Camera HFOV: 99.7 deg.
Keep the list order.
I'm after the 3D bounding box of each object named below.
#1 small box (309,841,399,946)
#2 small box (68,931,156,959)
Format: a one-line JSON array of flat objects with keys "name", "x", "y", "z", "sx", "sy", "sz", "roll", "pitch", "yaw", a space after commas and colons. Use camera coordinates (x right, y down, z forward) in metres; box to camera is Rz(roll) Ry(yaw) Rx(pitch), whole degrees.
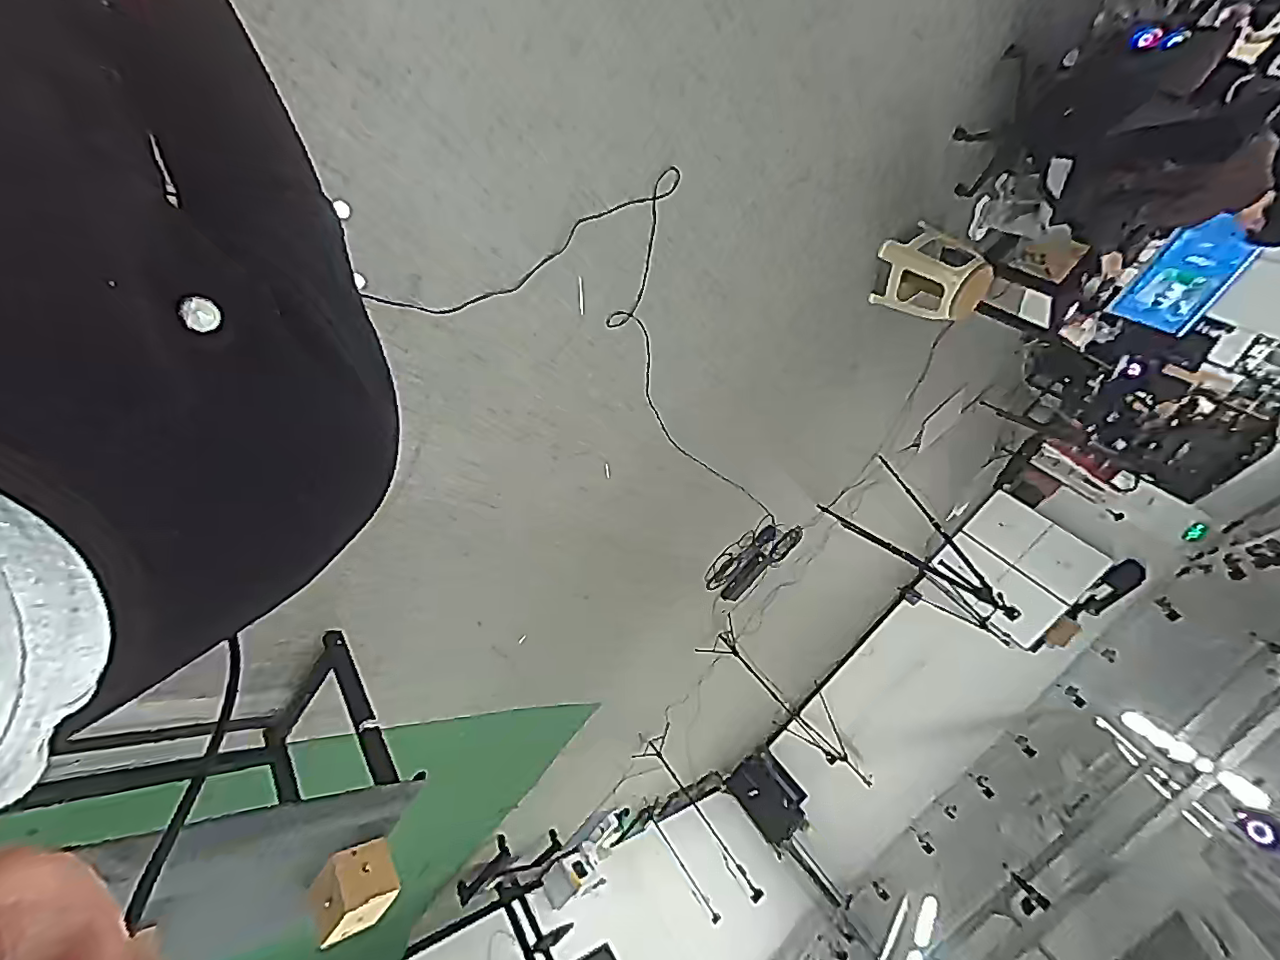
[{"name": "small box", "x": -0.872, "y": 1.235, "z": 1.637, "sx": 0.168, "sy": 0.176, "sz": 0.179, "roll": 17, "pitch": 111, "yaw": -53}, {"name": "small box", "x": -1.206, "y": 1.171, "z": 1.203, "sx": 0.179, "sy": 0.176, "sz": 0.168, "roll": -55, "pitch": 146, "yaw": 10}]
